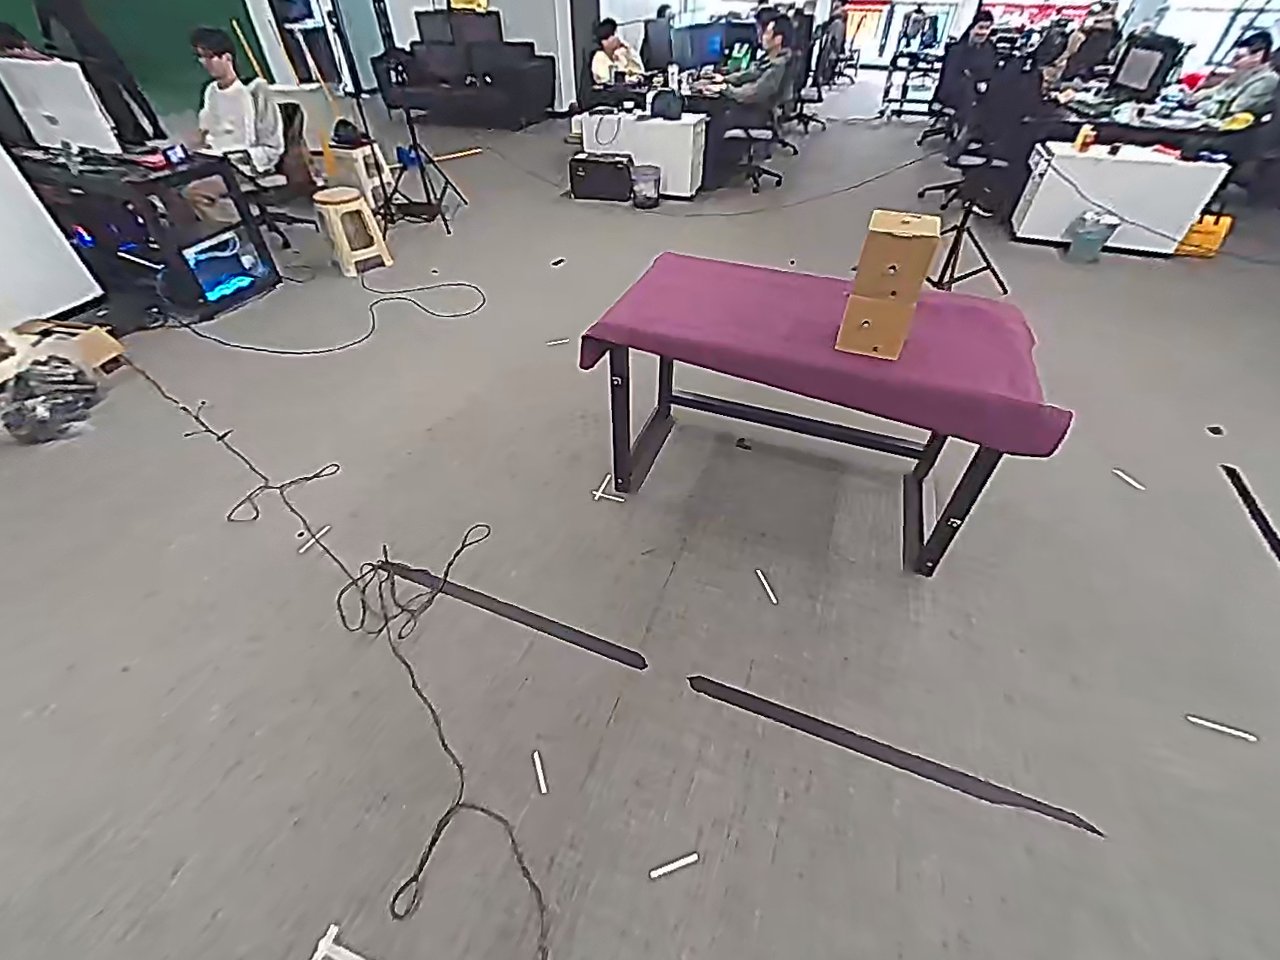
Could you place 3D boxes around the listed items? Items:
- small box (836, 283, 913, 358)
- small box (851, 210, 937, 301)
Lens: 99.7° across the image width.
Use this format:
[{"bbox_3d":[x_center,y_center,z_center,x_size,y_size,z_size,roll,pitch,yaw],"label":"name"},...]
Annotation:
[{"bbox_3d":[0.661,-0.465,1.528,0.168,0.176,0.179,15,44,16],"label":"small box"},{"bbox_3d":[0.663,-0.588,1.420,0.168,0.176,0.179,15,45,16],"label":"small box"}]
